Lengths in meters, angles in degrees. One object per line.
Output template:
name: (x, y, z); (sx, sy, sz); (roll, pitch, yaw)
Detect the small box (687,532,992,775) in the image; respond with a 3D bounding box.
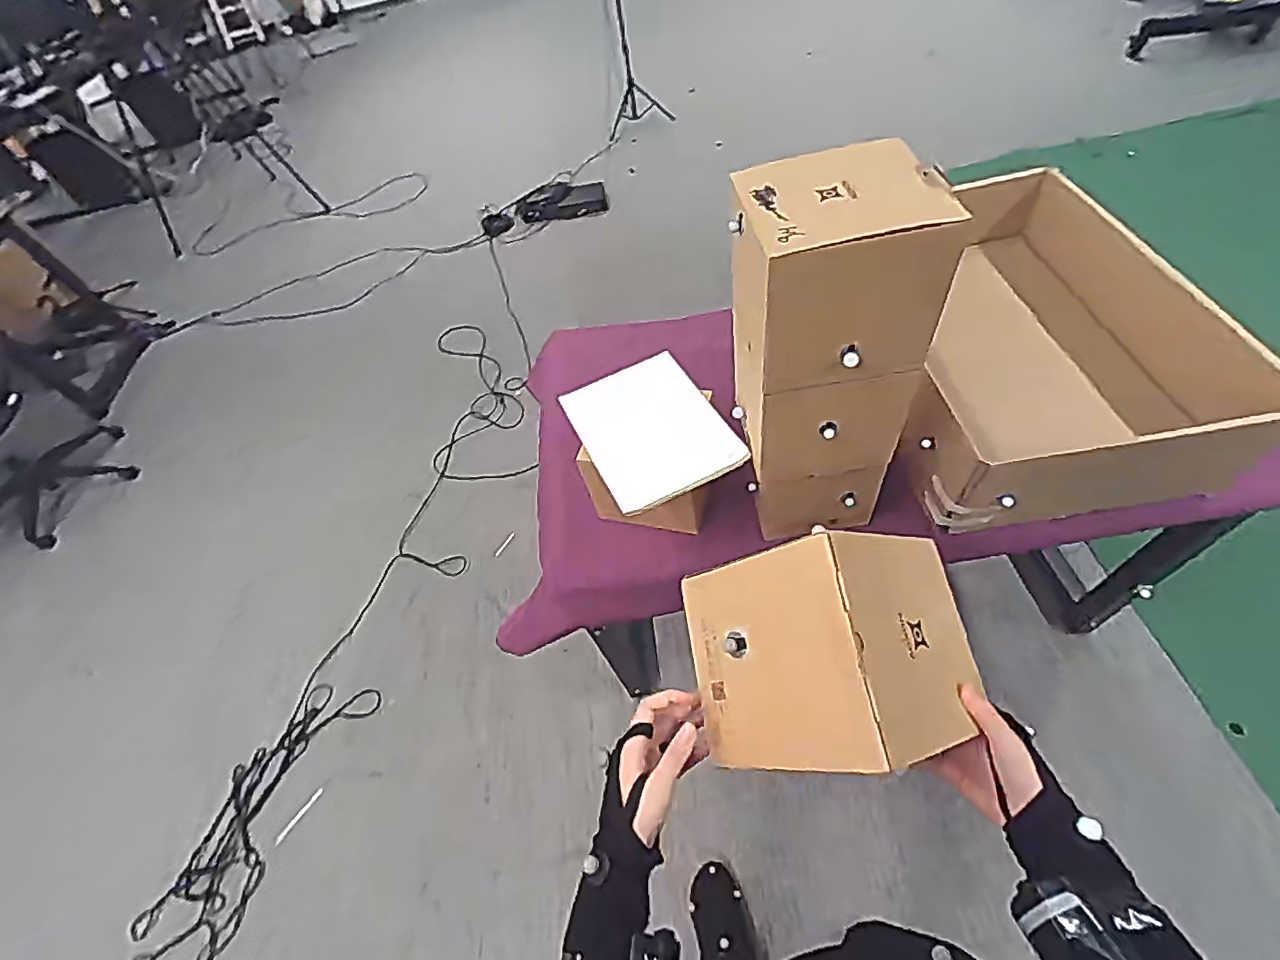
small box: (0.168, 0.151, 0.484); (0.179, 0.176, 0.168); (8, 65, -36)

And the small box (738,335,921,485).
small box: (0.226, -0.114, 0.699); (0.179, 0.176, 0.168); (-10, 51, 5)

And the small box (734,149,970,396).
small box: (0.199, -0.212, 0.570); (0.179, 0.176, 0.168); (-9, 51, 3)
